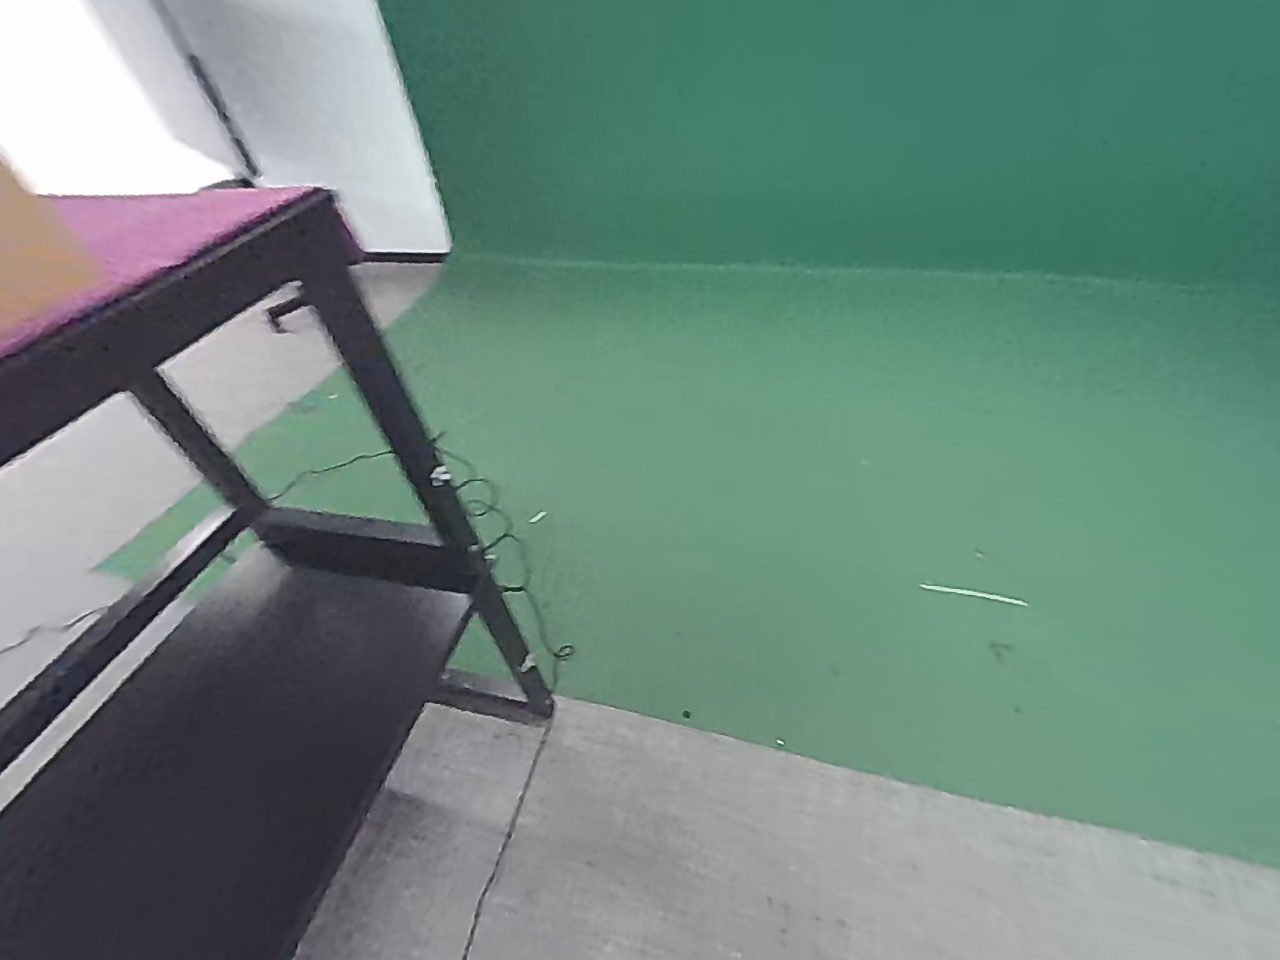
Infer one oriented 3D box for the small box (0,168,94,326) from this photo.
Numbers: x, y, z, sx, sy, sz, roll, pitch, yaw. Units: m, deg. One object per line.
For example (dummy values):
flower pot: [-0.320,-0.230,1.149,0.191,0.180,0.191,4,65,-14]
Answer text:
small box: [-0.611,-0.195,0.417,0.168,0.176,0.179,7,46,14]
